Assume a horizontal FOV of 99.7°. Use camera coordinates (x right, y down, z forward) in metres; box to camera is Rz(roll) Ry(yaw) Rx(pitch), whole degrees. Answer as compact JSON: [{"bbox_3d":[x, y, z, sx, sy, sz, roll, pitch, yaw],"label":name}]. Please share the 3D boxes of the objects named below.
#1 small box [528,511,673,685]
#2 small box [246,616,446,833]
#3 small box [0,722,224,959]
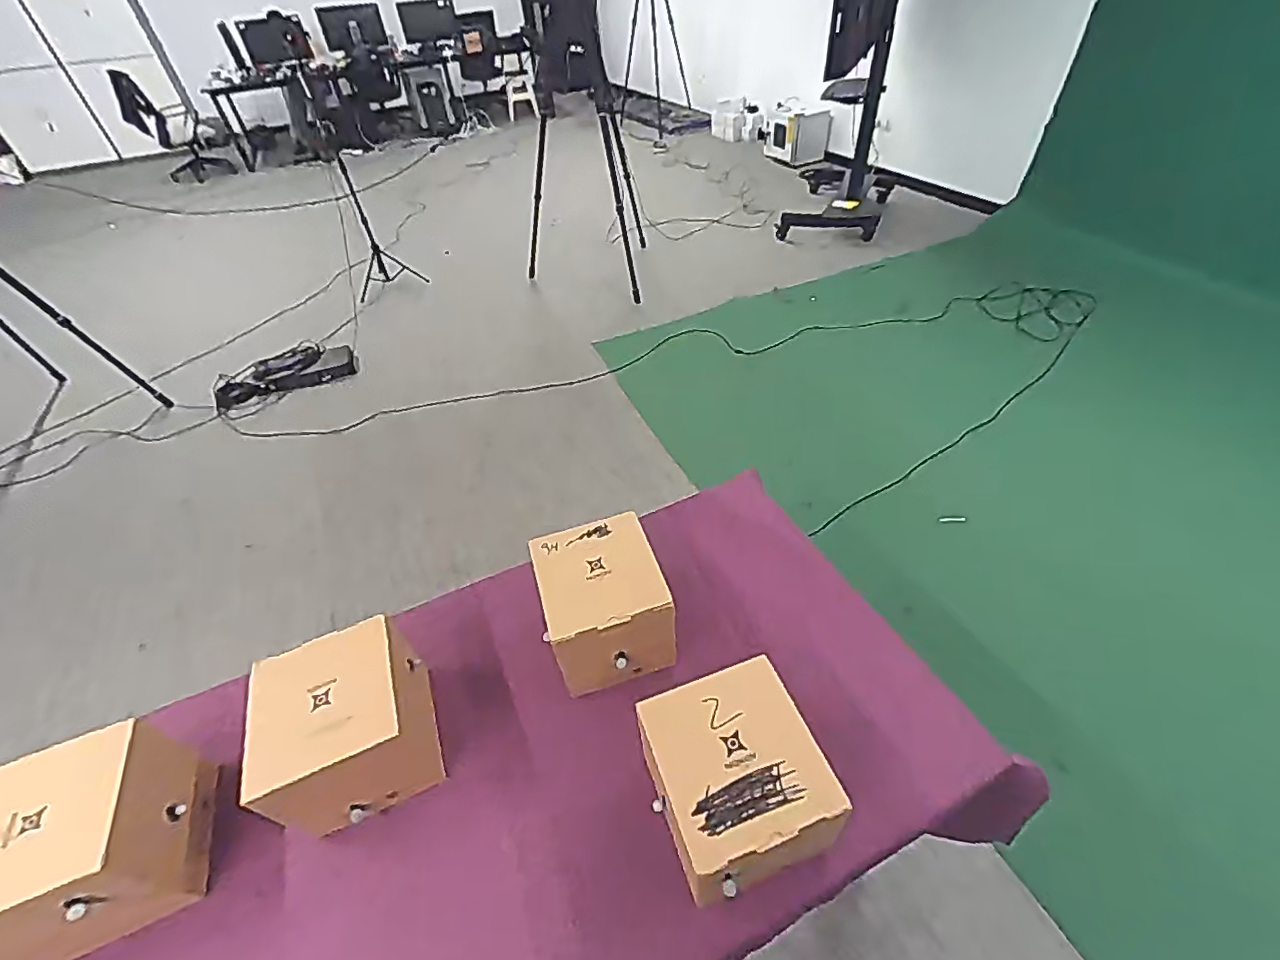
[{"bbox_3d":[-0.055,0.180,0.803,0.168,0.176,0.179,-16,46,-10],"label":"small box"},{"bbox_3d":[-0.371,0.317,0.704,0.168,0.176,0.179,-21,47,-13],"label":"small box"},{"bbox_3d":[-0.628,0.420,0.626,0.179,0.176,0.168,-20,46,-14],"label":"small box"}]
